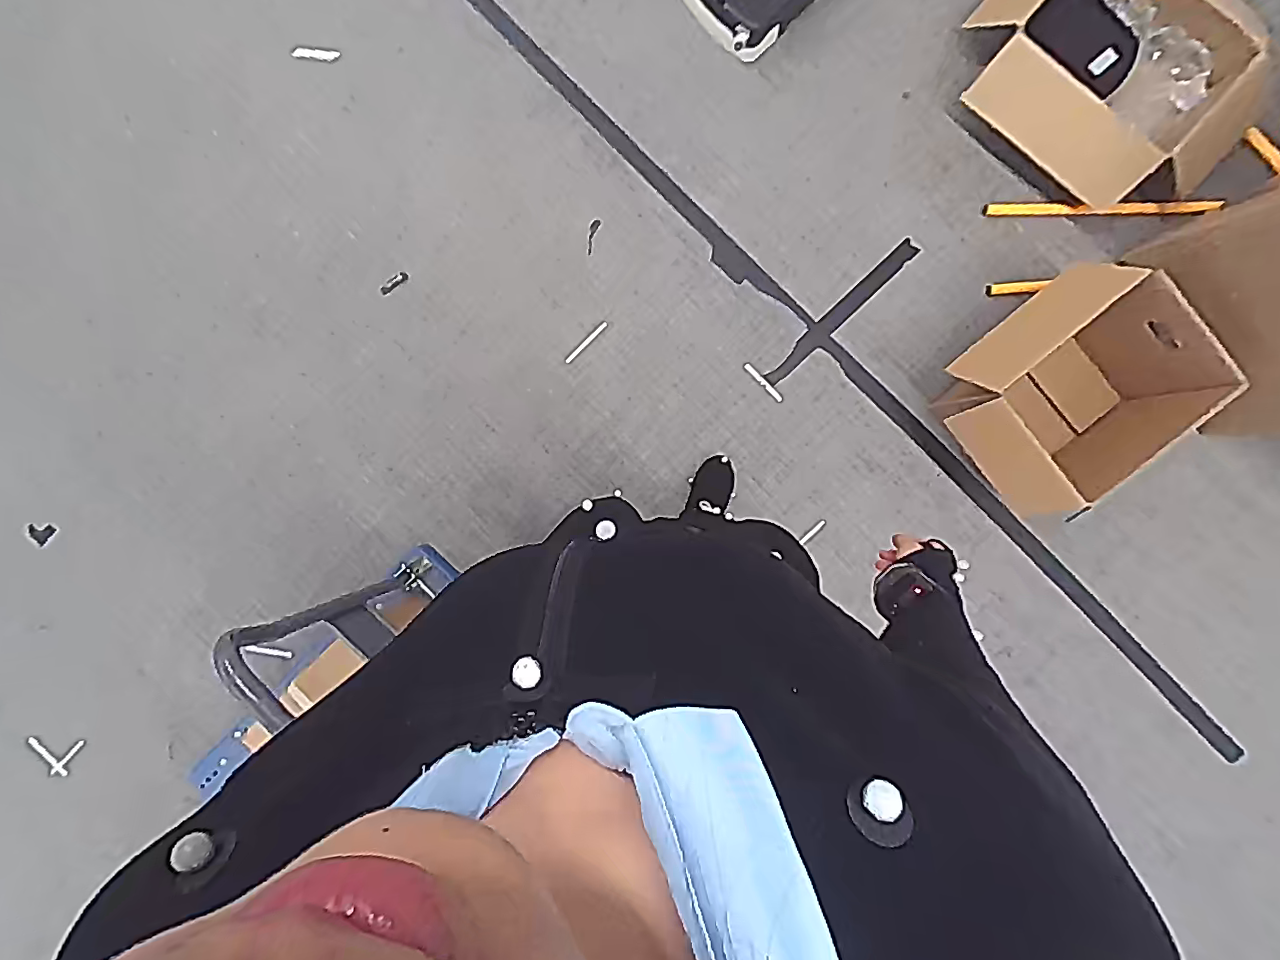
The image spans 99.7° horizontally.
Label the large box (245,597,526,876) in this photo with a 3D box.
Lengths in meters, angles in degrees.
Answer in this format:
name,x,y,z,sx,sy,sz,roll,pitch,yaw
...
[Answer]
name,x,y,z,sx,sy,sz,roll,pitch,yaw
large box,-0.530,0.535,1.206,0.320,0.320,0.408,-44,89,2
